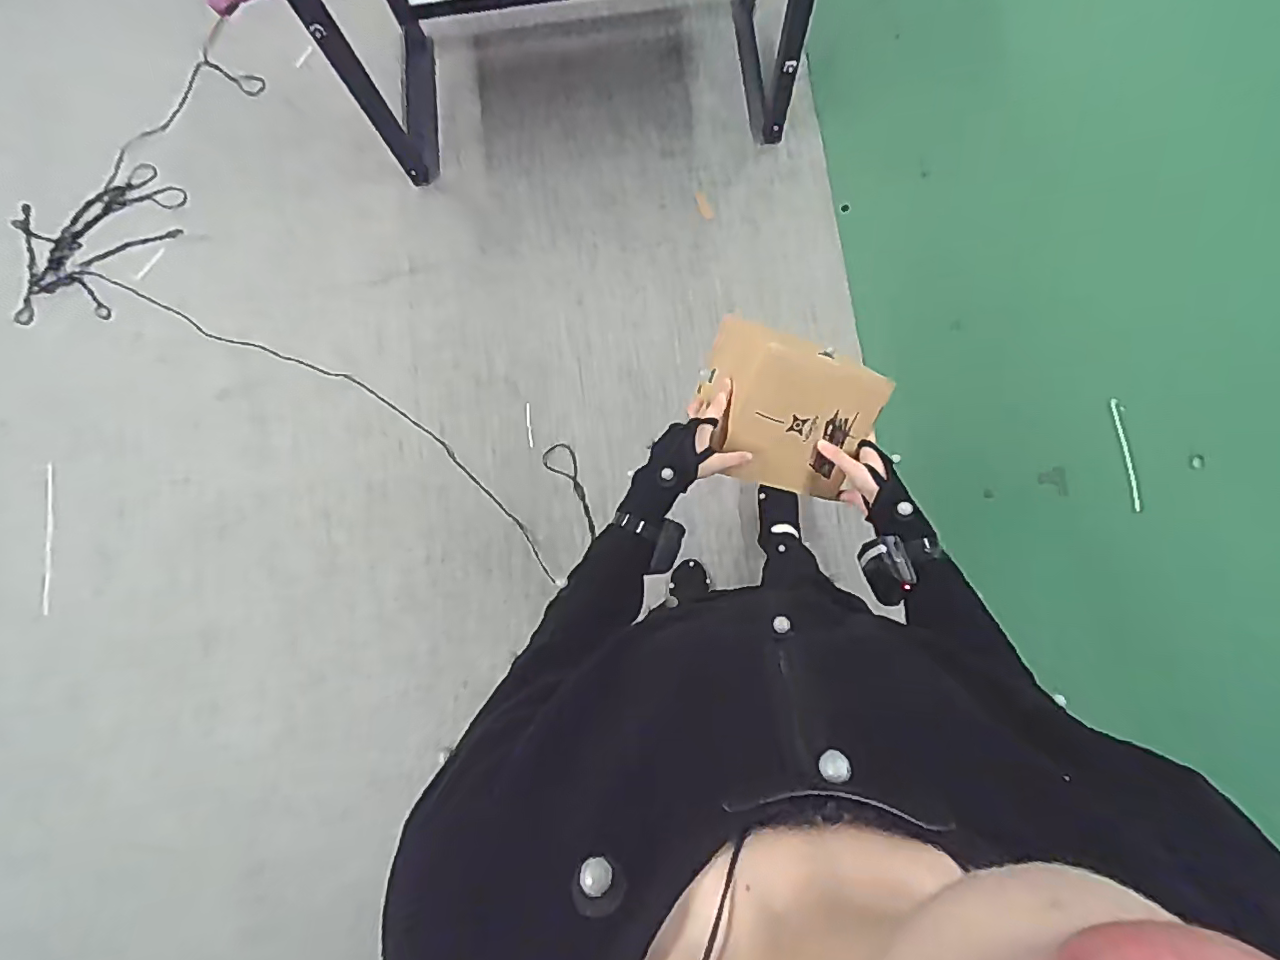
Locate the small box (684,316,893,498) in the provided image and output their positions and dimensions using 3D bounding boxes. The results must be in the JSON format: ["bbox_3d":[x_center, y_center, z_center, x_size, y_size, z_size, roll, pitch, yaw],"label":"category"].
[{"bbox_3d":[0.177,-0.101,0.703,0.179,0.176,0.168,13,114,-15],"label":"small box"}]
